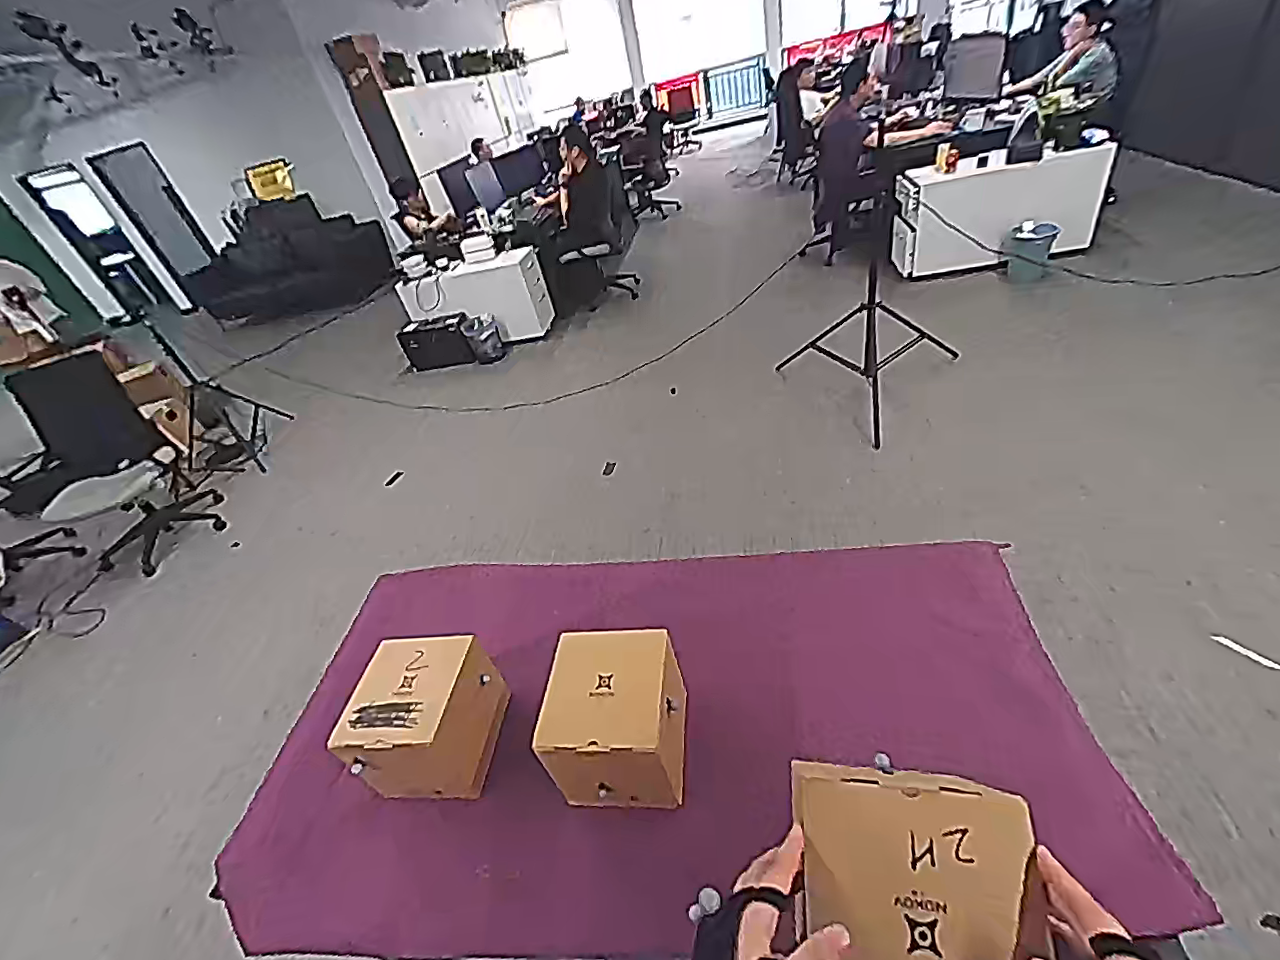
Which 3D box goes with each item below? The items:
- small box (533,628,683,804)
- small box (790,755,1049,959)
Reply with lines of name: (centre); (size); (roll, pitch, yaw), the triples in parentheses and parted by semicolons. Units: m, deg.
small box: (-0.032, 0.337, 0.782); (0.168, 0.176, 0.179); (-6, 38, 13)
small box: (0.219, 0.346, 0.465); (0.168, 0.176, 0.179); (0, 66, 12)
